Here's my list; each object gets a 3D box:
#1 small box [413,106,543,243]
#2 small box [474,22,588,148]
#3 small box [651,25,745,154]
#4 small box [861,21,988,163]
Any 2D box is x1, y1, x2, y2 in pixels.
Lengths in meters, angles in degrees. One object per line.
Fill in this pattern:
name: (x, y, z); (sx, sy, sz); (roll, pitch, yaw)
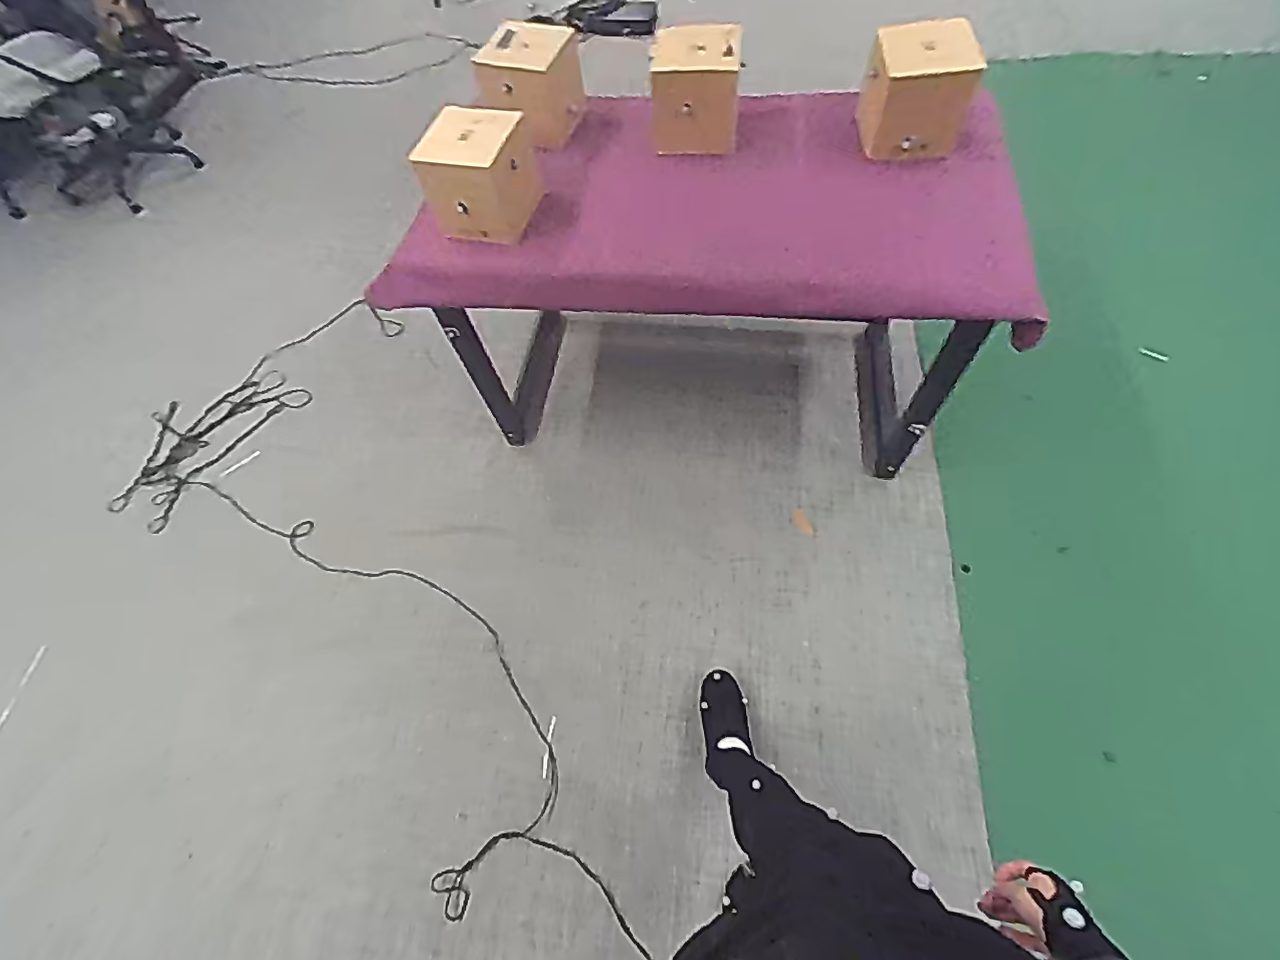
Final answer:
small box: (-0.308, -0.601, 1.073); (0.168, 0.176, 0.179); (12, 64, 11)
small box: (-0.234, -0.880, 1.212); (0.179, 0.176, 0.168); (17, 67, 12)
small box: (0.126, -0.819, 1.146); (0.179, 0.176, 0.168); (4, 65, 9)
small box: (0.550, -0.765, 1.075); (0.168, 0.176, 0.179); (0, 64, 8)
